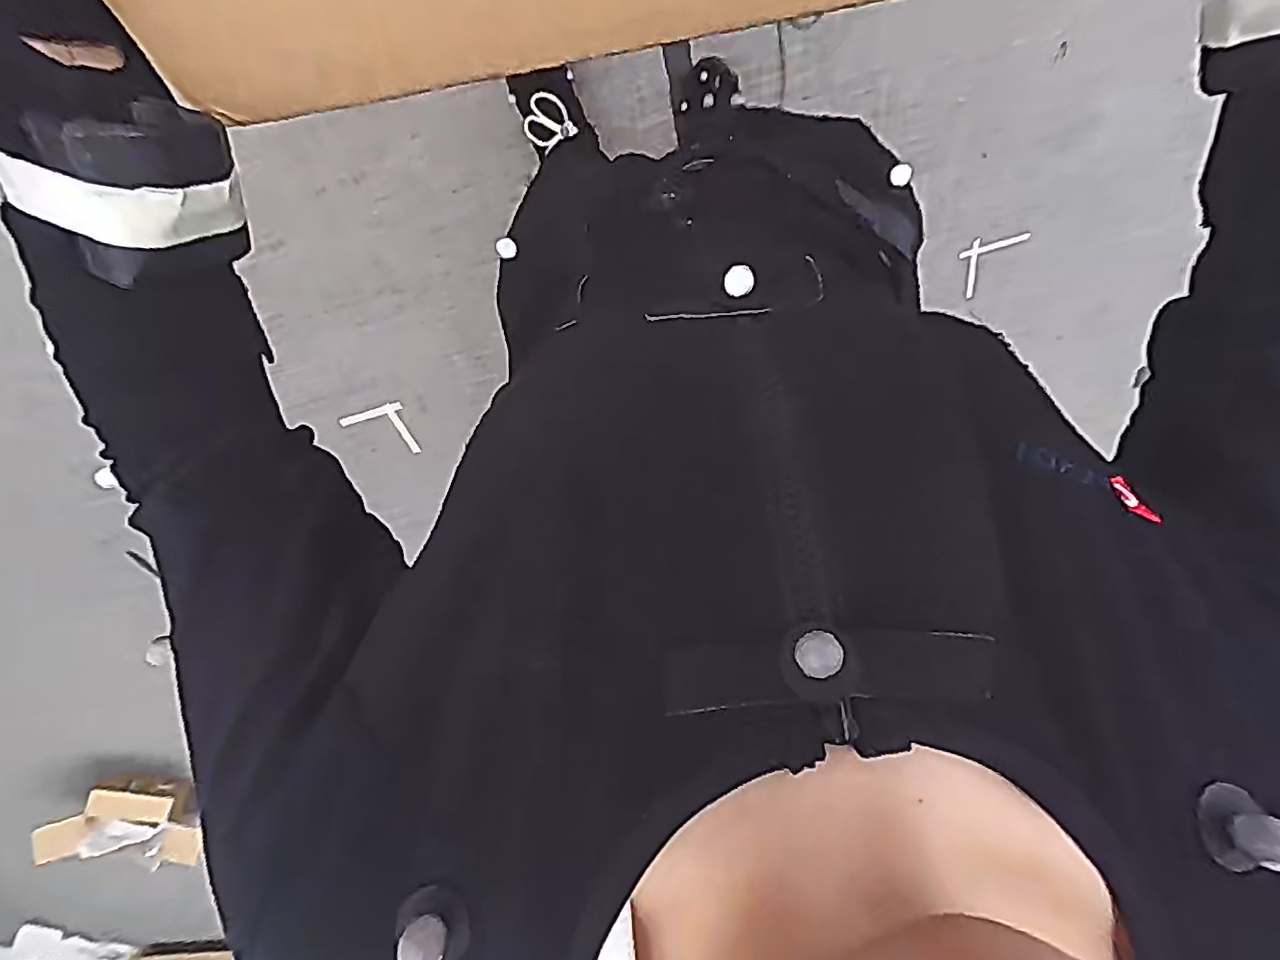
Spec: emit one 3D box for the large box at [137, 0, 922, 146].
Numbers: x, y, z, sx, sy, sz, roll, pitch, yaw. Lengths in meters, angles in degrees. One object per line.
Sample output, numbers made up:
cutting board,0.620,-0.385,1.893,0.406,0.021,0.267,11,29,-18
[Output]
large box,-0.019,-0.383,0.161,0.408,0.320,0.320,-10,154,3
